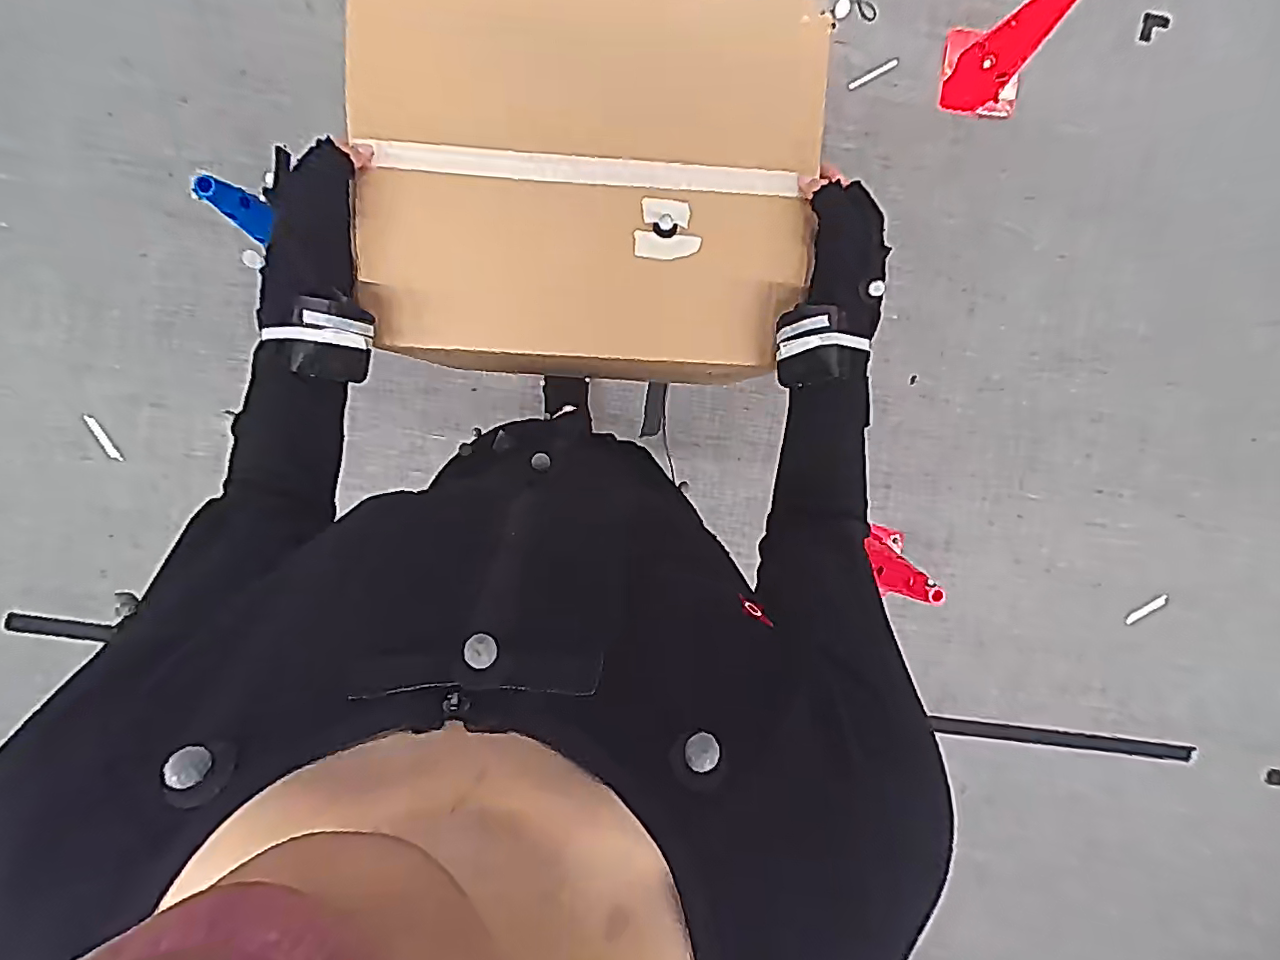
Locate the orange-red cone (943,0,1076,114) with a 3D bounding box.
[{"bbox_3d":[0.893,-1.043,1.220,0.198,0.360,0.199,6,94,-4],"label":"orange-red cone"}]

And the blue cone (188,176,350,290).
[{"bbox_3d":[-0.834,-0.574,1.208,0.192,0.380,0.193,12,95,-2],"label":"blue cone"}]

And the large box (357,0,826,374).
[{"bbox_3d":[-0.052,-0.294,0.619,0.408,0.320,0.320,2,97,-5],"label":"large box"}]

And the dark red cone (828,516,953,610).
[{"bbox_3d":[0.629,0.227,1.308,0.201,0.394,0.202,14,95,-3],"label":"dark red cone"}]
